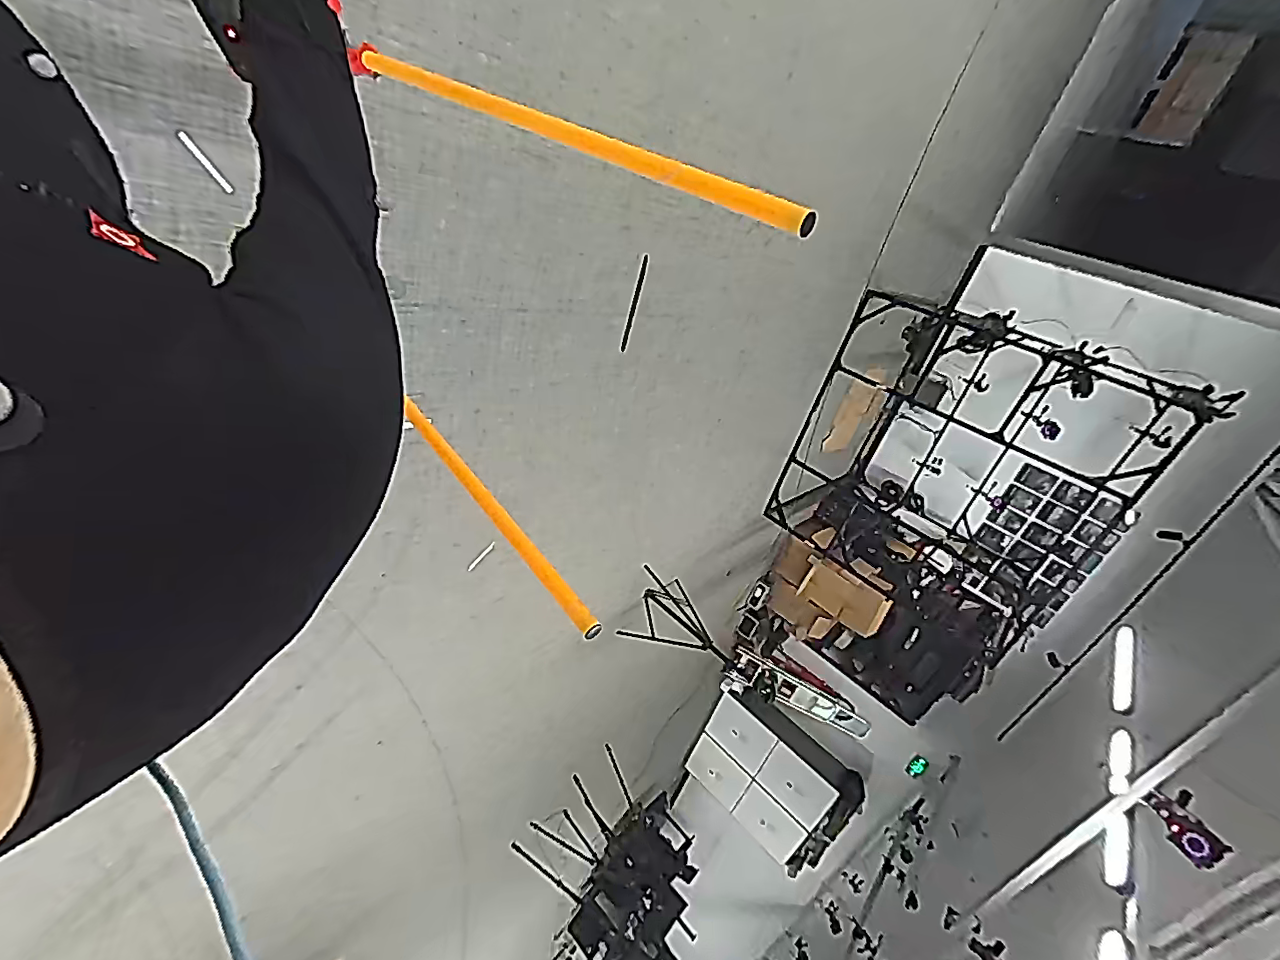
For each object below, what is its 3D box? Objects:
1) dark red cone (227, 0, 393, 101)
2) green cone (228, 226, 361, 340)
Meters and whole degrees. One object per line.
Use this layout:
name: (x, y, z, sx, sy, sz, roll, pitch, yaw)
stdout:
dark red cone: (-0.560, -0.791, 0.964, 0.201, 0.394, 0.202, -19, 136, -49)
green cone: (-0.722, -0.389, 1.184, 0.202, 0.368, 0.200, -14, 131, -51)
